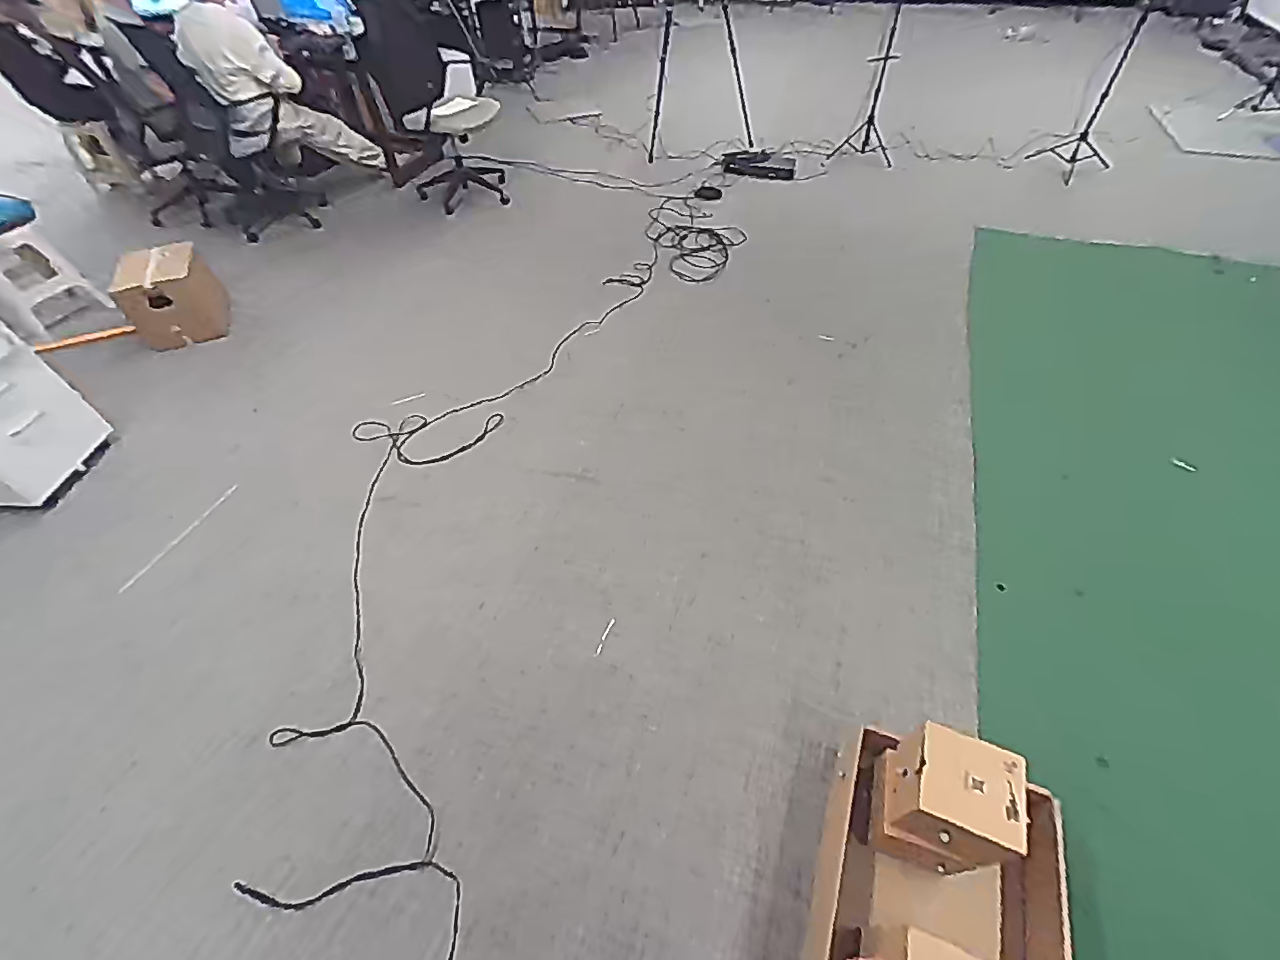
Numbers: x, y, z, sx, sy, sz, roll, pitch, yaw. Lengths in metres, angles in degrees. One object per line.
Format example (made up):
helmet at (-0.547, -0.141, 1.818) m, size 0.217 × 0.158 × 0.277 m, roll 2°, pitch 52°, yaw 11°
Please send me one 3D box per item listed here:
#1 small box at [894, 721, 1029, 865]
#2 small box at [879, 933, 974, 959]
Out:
small box at (0.597, 0.593, 1.018) m, size 0.179 × 0.176 × 0.168 m, roll 17°, pitch 52°, yaw 18°
small box at (0.471, 0.827, 0.820) m, size 0.179 × 0.176 × 0.168 m, roll 15°, pitch 50°, yaw 17°
